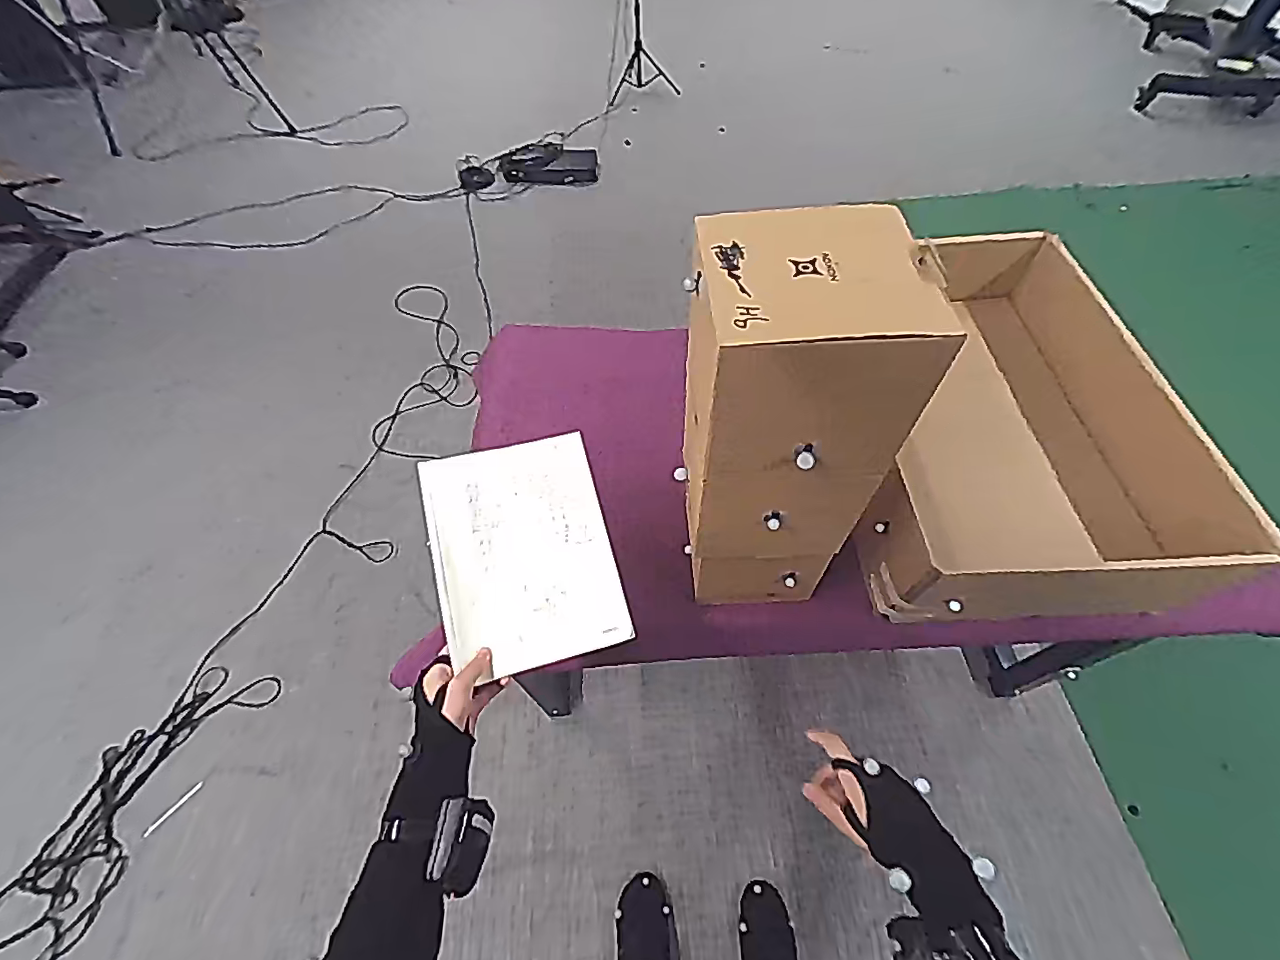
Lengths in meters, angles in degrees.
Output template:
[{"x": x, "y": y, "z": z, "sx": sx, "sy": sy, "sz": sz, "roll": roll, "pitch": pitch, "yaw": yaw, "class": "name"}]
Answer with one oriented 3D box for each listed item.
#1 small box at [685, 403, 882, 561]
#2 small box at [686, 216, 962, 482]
[{"x": 0.145, "y": -0.017, "z": 0.621, "sx": 0.179, "sy": 0.176, "sz": 0.168, "roll": -3, "pitch": 55, "yaw": 2, "class": "small box"}, {"x": 0.138, "y": -0.111, "z": 0.485, "sx": 0.179, "sy": 0.176, "sz": 0.168, "roll": -2, "pitch": 54, "yaw": 0, "class": "small box"}]
